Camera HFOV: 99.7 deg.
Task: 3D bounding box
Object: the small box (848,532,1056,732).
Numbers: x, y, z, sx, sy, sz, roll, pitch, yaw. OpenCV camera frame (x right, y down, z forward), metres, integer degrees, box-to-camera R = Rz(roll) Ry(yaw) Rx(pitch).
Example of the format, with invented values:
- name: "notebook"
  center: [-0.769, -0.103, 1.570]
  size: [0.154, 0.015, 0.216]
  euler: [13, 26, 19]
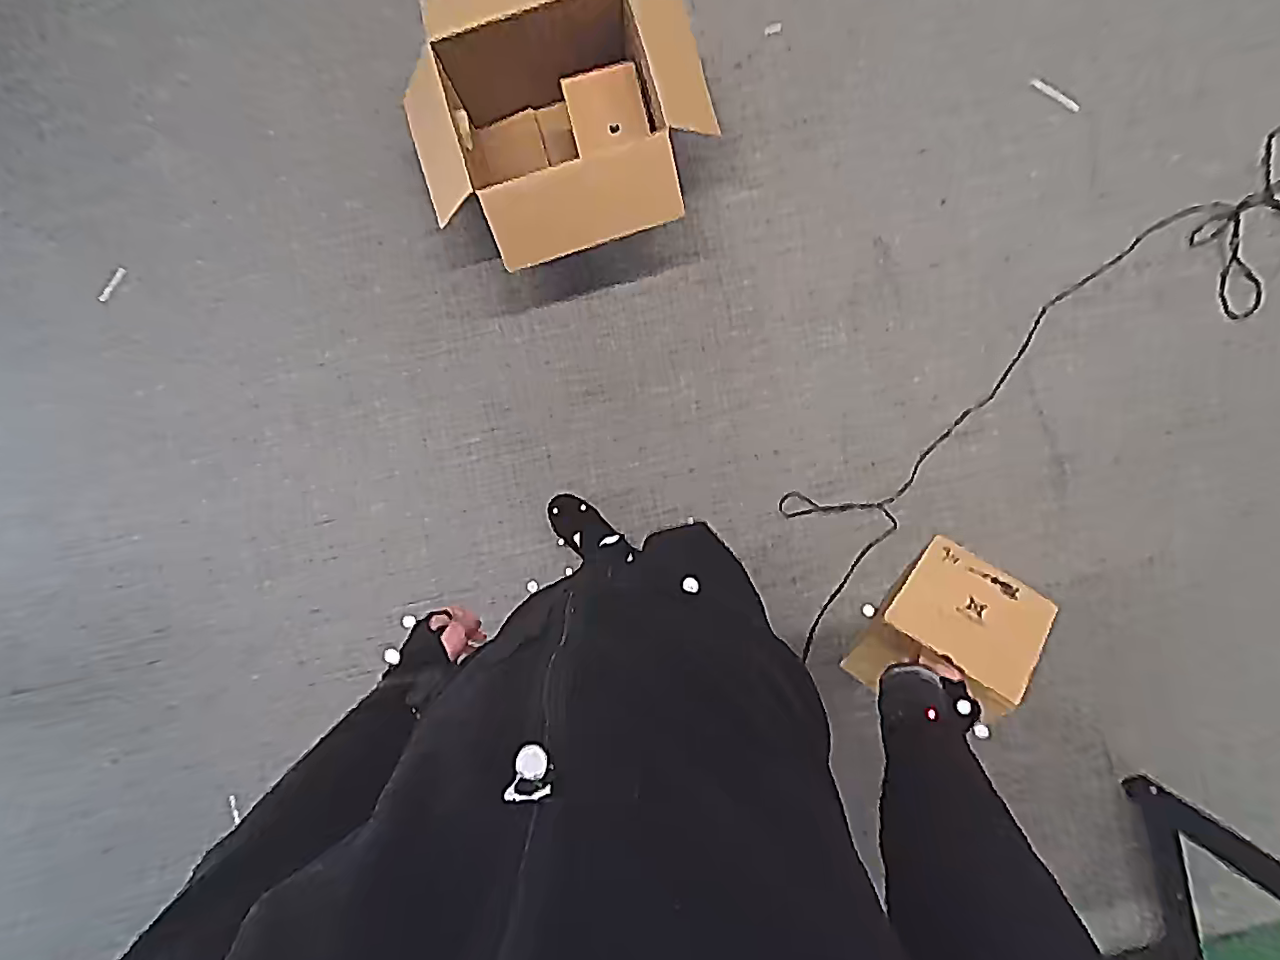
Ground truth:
- name: "small box"
  center: [0.415, 0.214, 0.750]
  size: [0.168, 0.176, 0.179]
  euler: [38, 59, 23]
